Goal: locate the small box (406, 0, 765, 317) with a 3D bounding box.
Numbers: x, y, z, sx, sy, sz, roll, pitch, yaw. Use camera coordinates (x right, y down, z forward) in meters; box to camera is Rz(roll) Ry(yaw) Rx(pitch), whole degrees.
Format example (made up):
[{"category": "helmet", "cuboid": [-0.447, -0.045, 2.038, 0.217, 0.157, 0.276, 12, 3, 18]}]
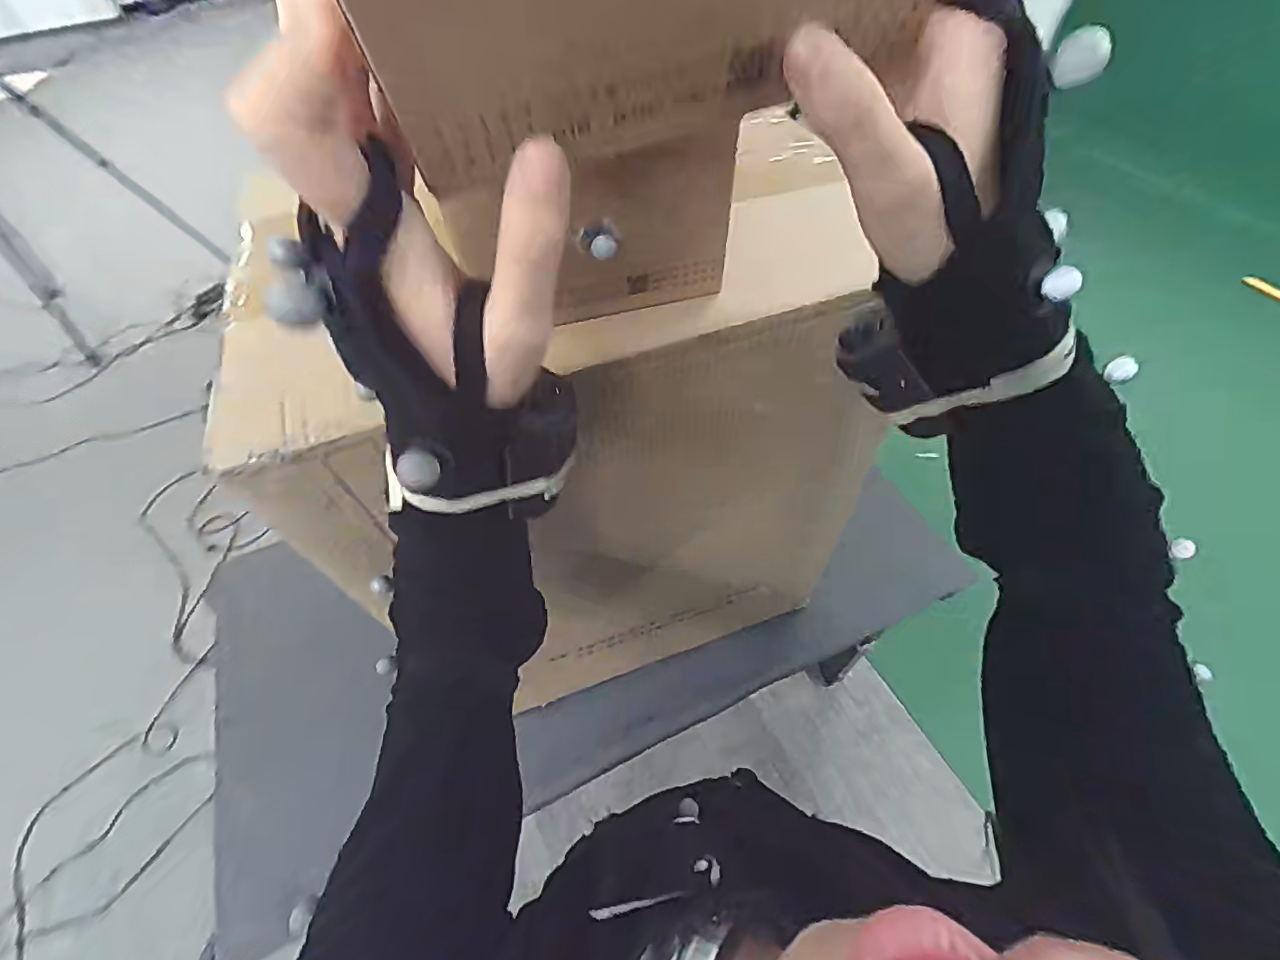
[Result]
[{"category": "small box", "cuboid": [-0.040, -0.235, 0.349, 0.168, 0.176, 0.179, -14, 57, -8]}]
